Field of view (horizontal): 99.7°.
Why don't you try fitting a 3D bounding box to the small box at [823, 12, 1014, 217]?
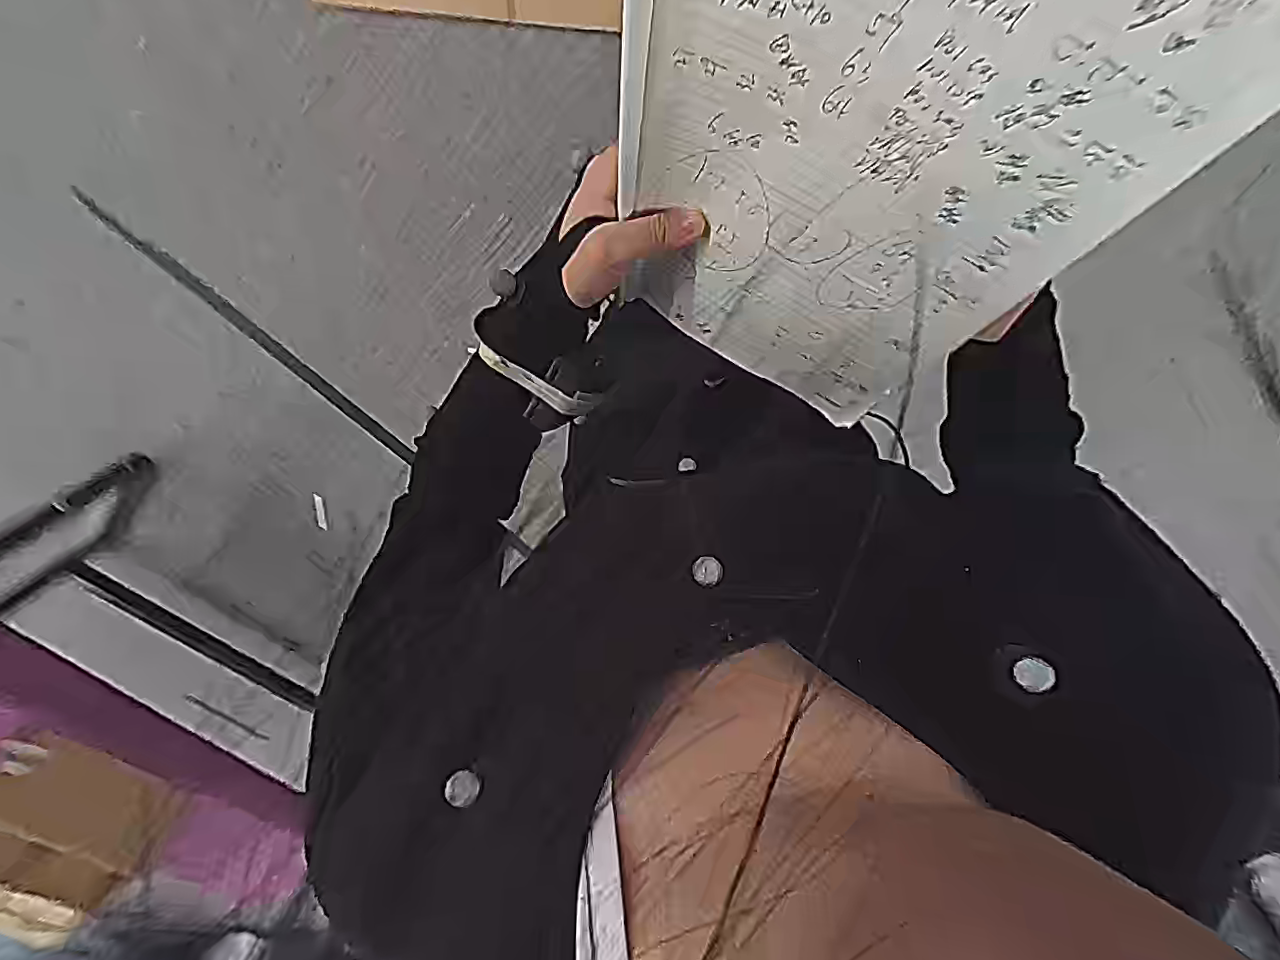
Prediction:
[{"bbox_3d":[0.394,-0.529,0.803,0.168,0.176,0.179,40,116,-20],"label":"small box"}]
